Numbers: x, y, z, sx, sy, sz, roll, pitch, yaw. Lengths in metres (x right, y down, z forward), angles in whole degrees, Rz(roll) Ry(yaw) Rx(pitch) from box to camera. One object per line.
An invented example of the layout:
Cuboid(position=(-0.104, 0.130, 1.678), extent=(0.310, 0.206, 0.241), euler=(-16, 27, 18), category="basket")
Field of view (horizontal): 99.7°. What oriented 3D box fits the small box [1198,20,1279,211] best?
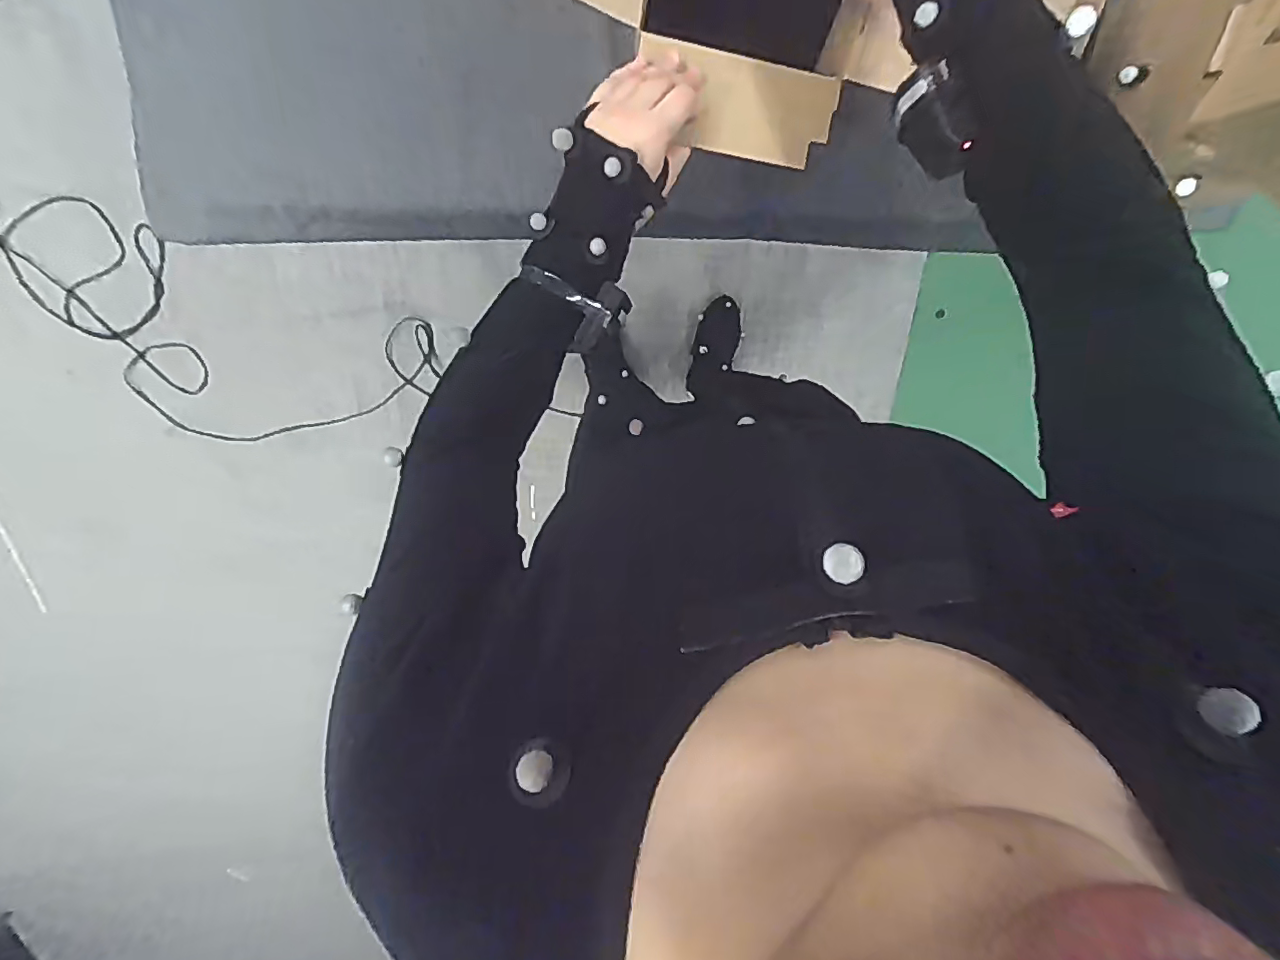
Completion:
Cuboid(position=(0.564, -0.290, 0.365), extent=(0.179, 0.176, 0.168), euler=(26, 107, -12), category="small box")
